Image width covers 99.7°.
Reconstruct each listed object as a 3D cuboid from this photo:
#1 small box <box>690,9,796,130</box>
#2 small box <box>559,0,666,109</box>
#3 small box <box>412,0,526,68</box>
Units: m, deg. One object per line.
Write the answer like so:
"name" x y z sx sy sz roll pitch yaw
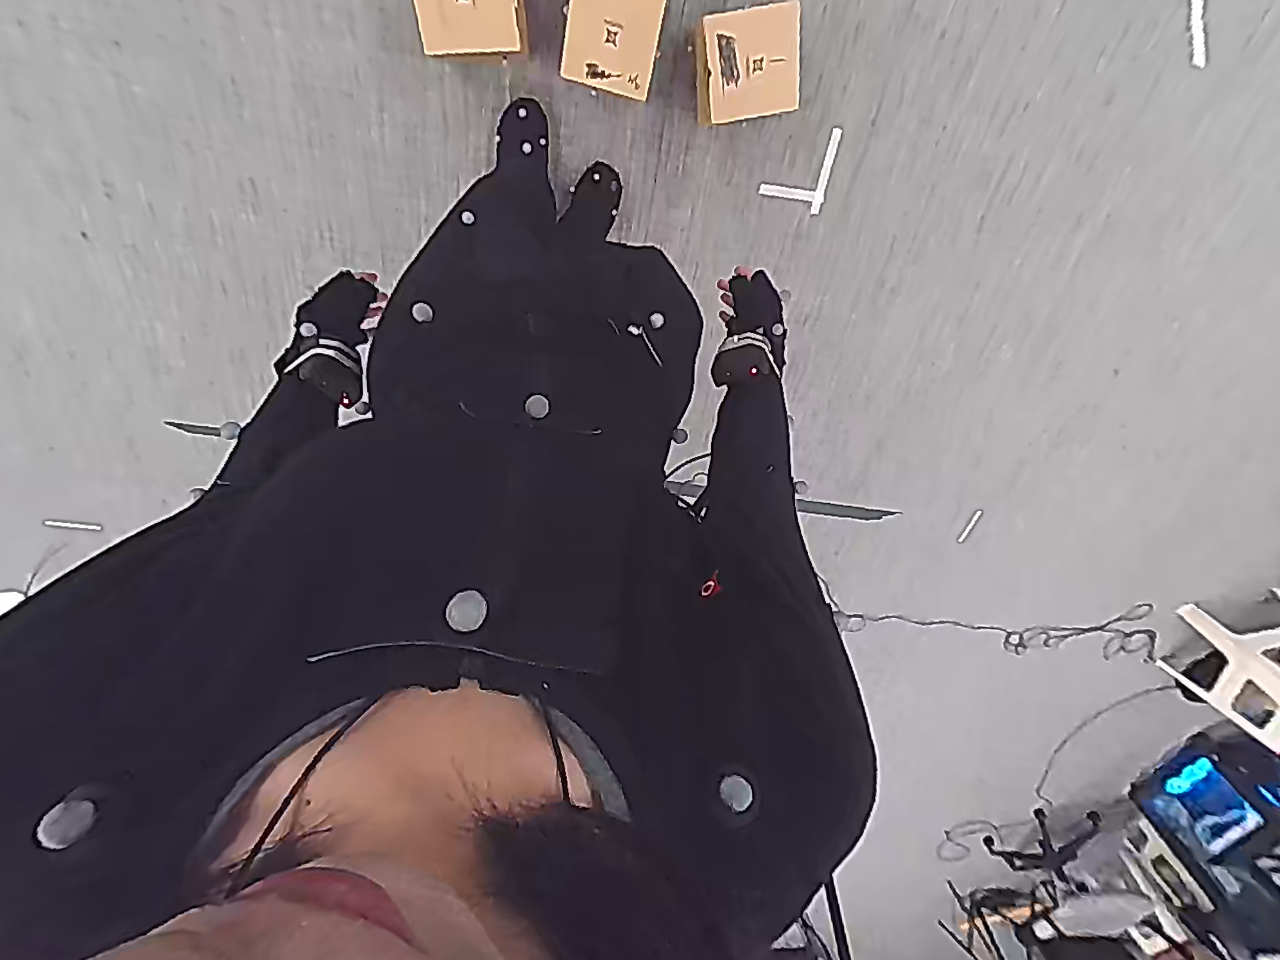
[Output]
"small box" 0.197 -0.805 1.075 0.179 0.176 0.168 -9 124 1
"small box" -0.059 -0.838 1.036 0.168 0.176 0.179 10 122 -11
"small box" -0.310 -0.872 0.996 0.179 0.176 0.168 -3 122 -1
